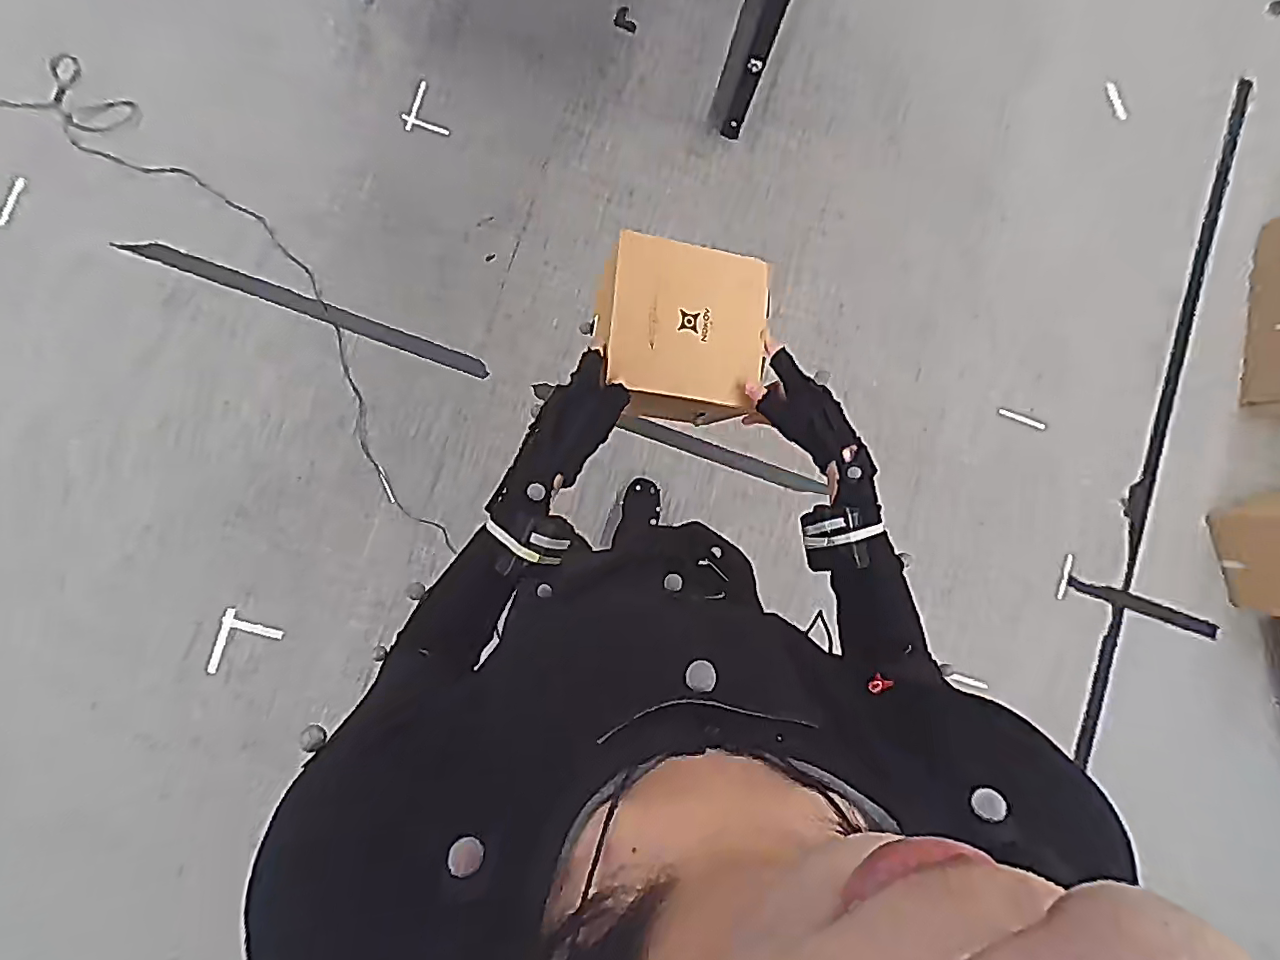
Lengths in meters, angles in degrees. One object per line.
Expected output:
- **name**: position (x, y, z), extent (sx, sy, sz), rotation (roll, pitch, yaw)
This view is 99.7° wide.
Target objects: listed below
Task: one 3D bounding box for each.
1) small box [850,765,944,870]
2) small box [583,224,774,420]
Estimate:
- **small box**: position (0.686, 0.904, 1.459), extent (0.168, 0.176, 0.179), rotation (-4, 87, -5)
- **small box**: position (0.036, -0.168, 0.638), extent (0.179, 0.176, 0.168), rotation (5, 87, -13)
